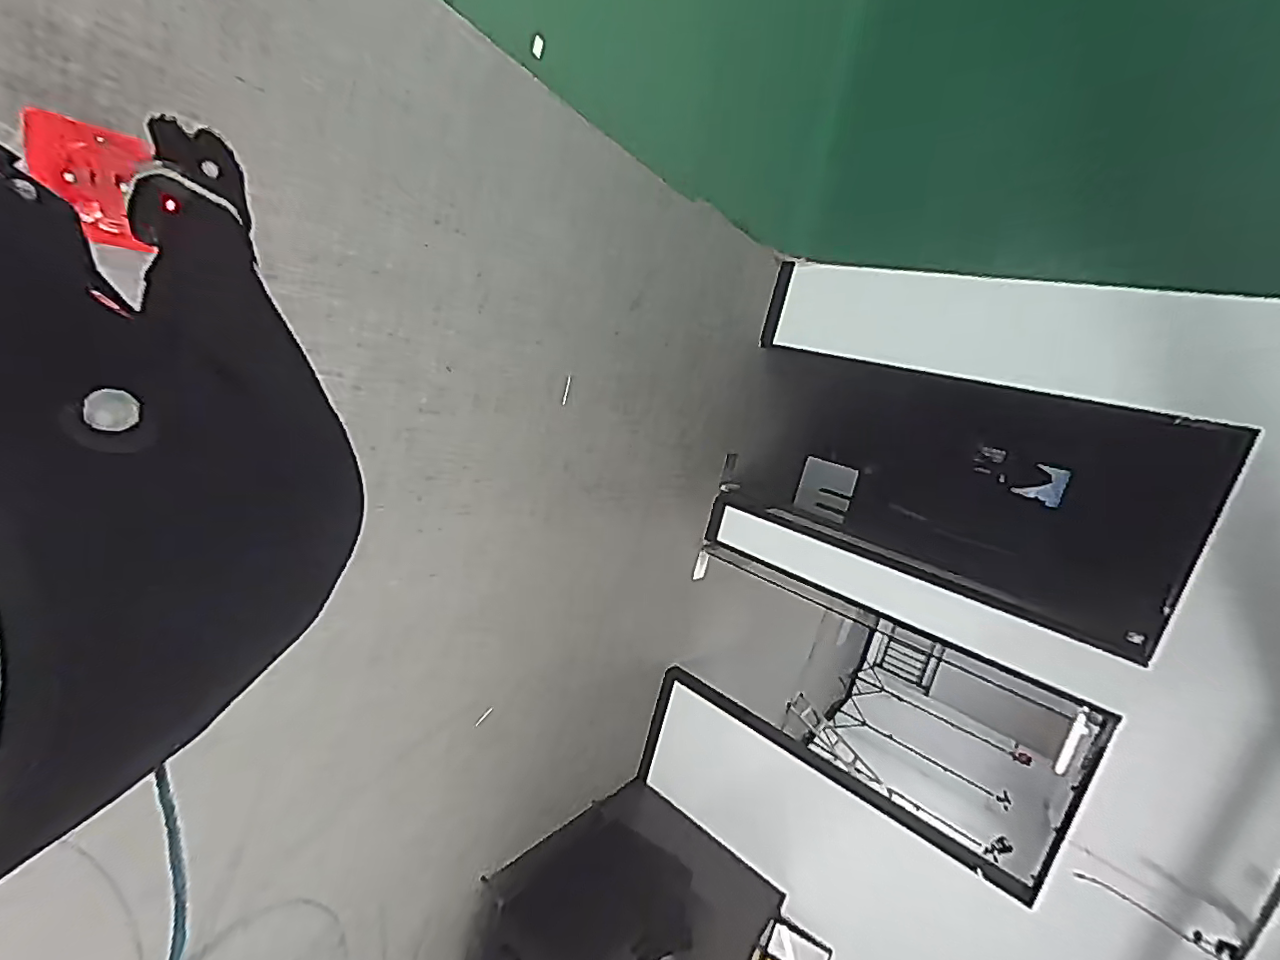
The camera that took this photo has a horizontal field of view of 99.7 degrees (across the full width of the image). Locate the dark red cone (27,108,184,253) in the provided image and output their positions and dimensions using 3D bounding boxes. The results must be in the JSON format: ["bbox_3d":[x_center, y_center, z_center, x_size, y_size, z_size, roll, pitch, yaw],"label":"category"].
[{"bbox_3d":[-0.839,-0.488,0.892,0.202,0.394,0.201,-8,113,-51],"label":"dark red cone"}]
